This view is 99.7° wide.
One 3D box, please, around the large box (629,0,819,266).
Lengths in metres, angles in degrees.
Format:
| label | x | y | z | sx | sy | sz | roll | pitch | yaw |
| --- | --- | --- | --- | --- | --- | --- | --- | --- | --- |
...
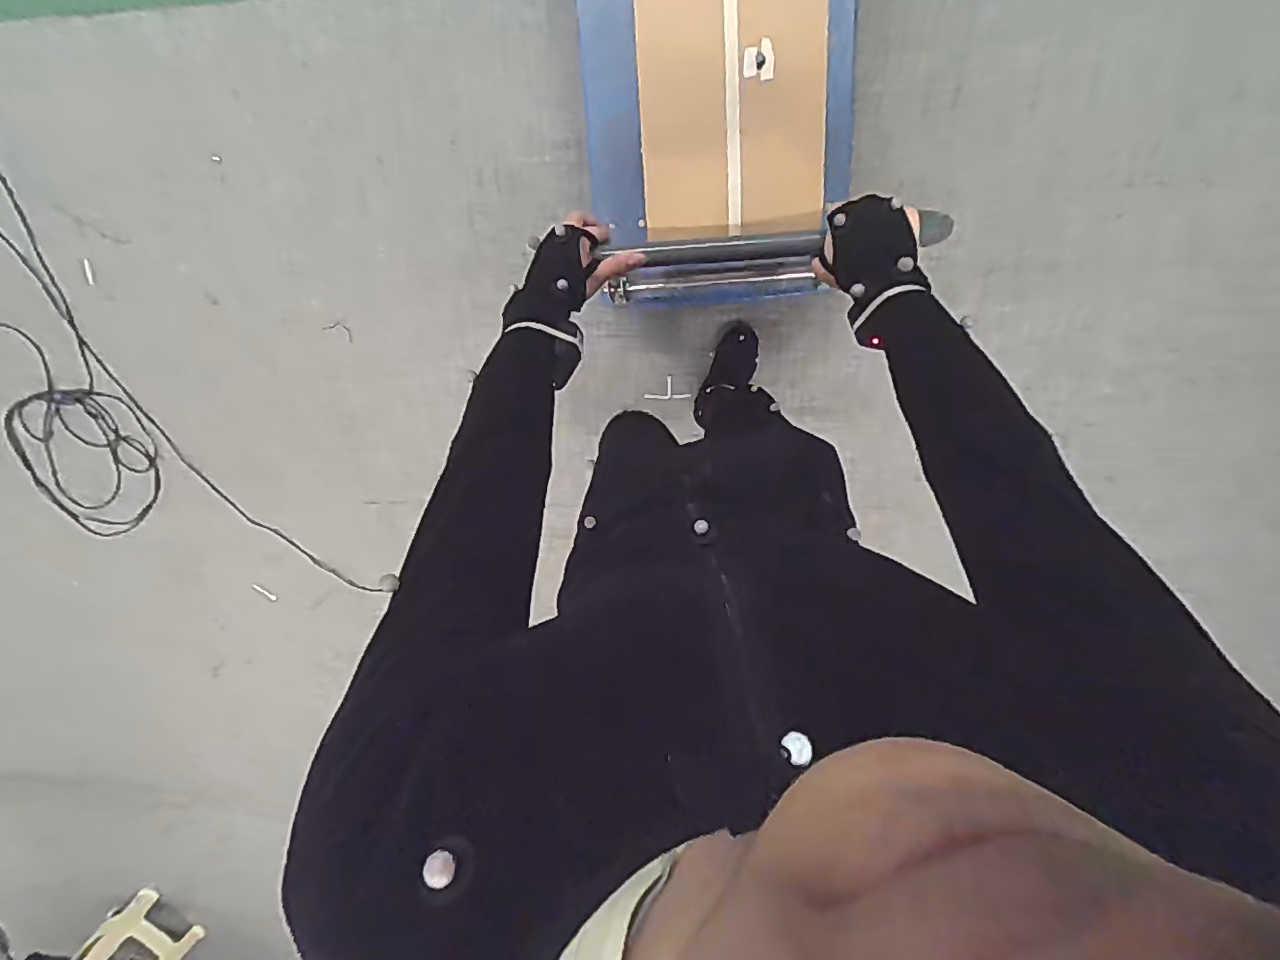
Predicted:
| label | x | y | z | sx | sy | sz | roll | pitch | yaw |
| --- | --- | --- | --- | --- | --- | --- | --- | --- | --- |
| large box | 0.167 | -0.667 | 1.077 | 0.320 | 0.320 | 0.408 | -2 | 106 | 7 |
